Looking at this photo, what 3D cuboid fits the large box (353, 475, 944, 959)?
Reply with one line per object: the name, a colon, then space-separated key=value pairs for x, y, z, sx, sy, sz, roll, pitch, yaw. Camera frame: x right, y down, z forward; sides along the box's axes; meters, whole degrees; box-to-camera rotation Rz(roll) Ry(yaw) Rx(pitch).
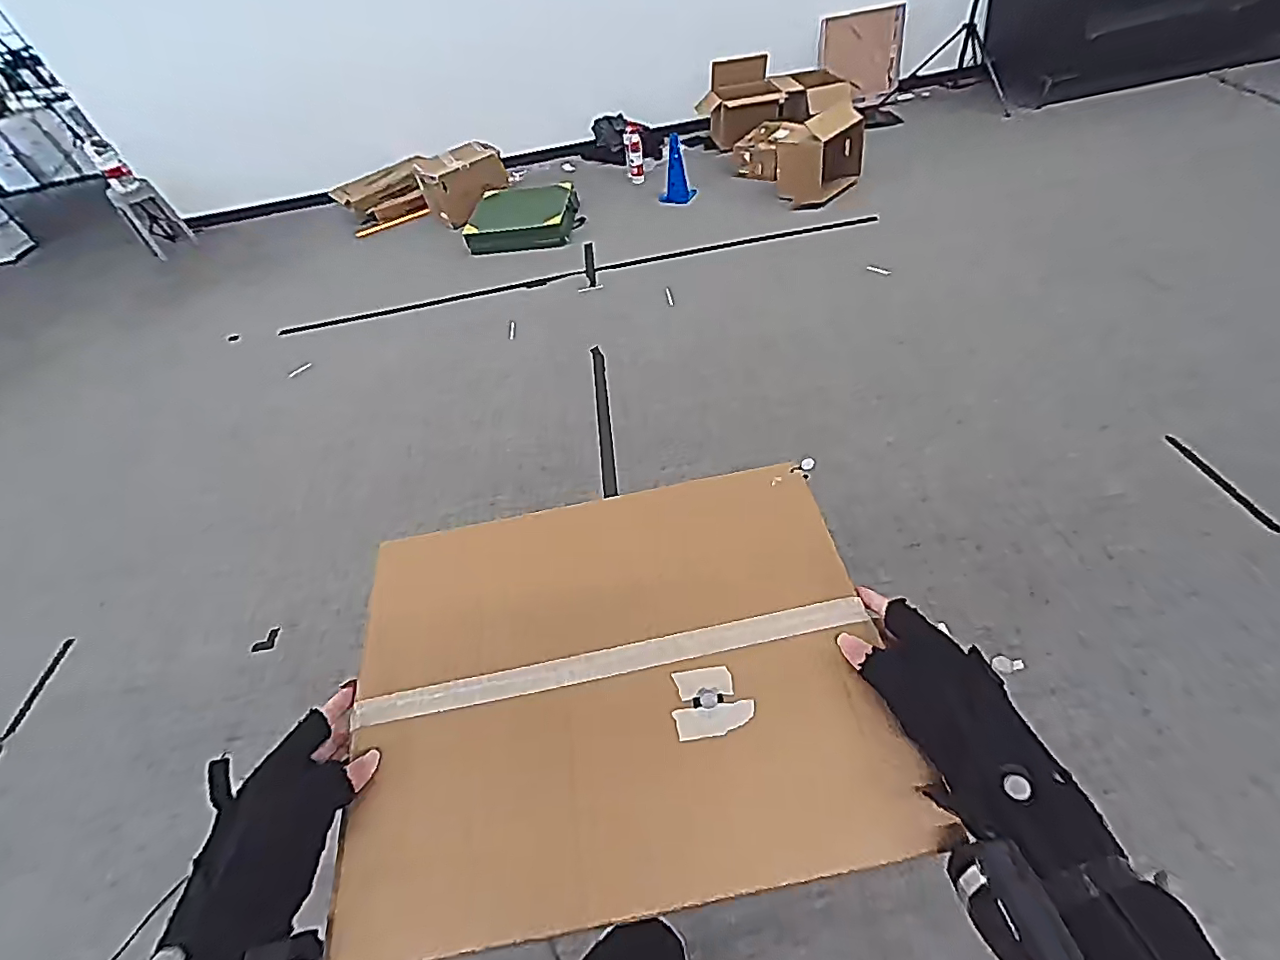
large box: x=-0.002 y=0.242 z=0.556 sx=0.408 sy=0.320 sz=0.320 roll=-11 pitch=53 yaw=-1
